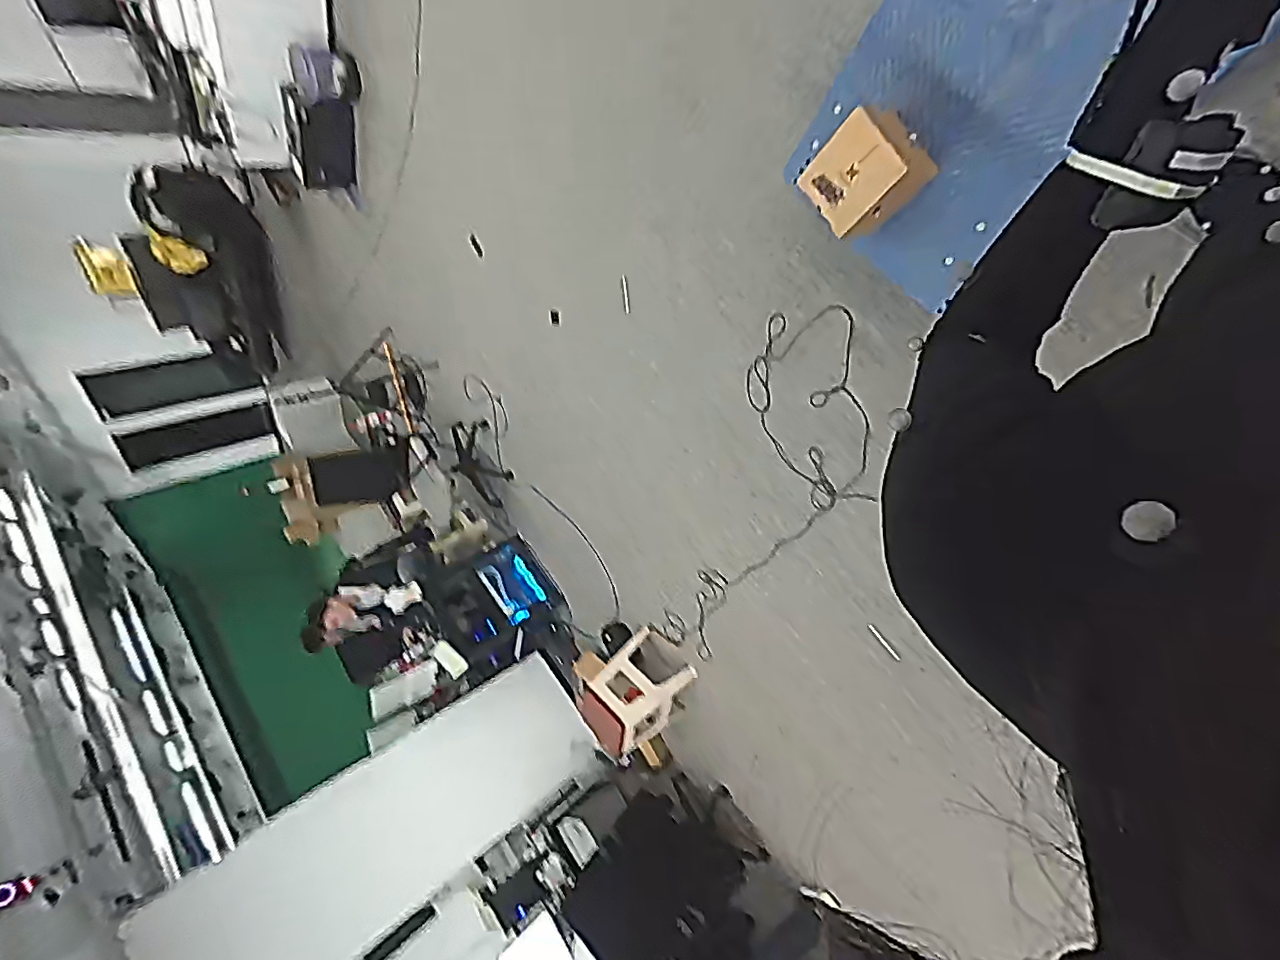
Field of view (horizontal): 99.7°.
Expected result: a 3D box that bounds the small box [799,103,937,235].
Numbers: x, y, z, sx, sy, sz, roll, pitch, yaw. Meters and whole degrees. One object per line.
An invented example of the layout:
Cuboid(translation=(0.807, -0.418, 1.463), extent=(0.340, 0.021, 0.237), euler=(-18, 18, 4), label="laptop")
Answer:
Cuboid(translation=(0.482, -0.649, 1.143), extent=(0.168, 0.176, 0.179), euler=(58, 141, 8), label="small box")
